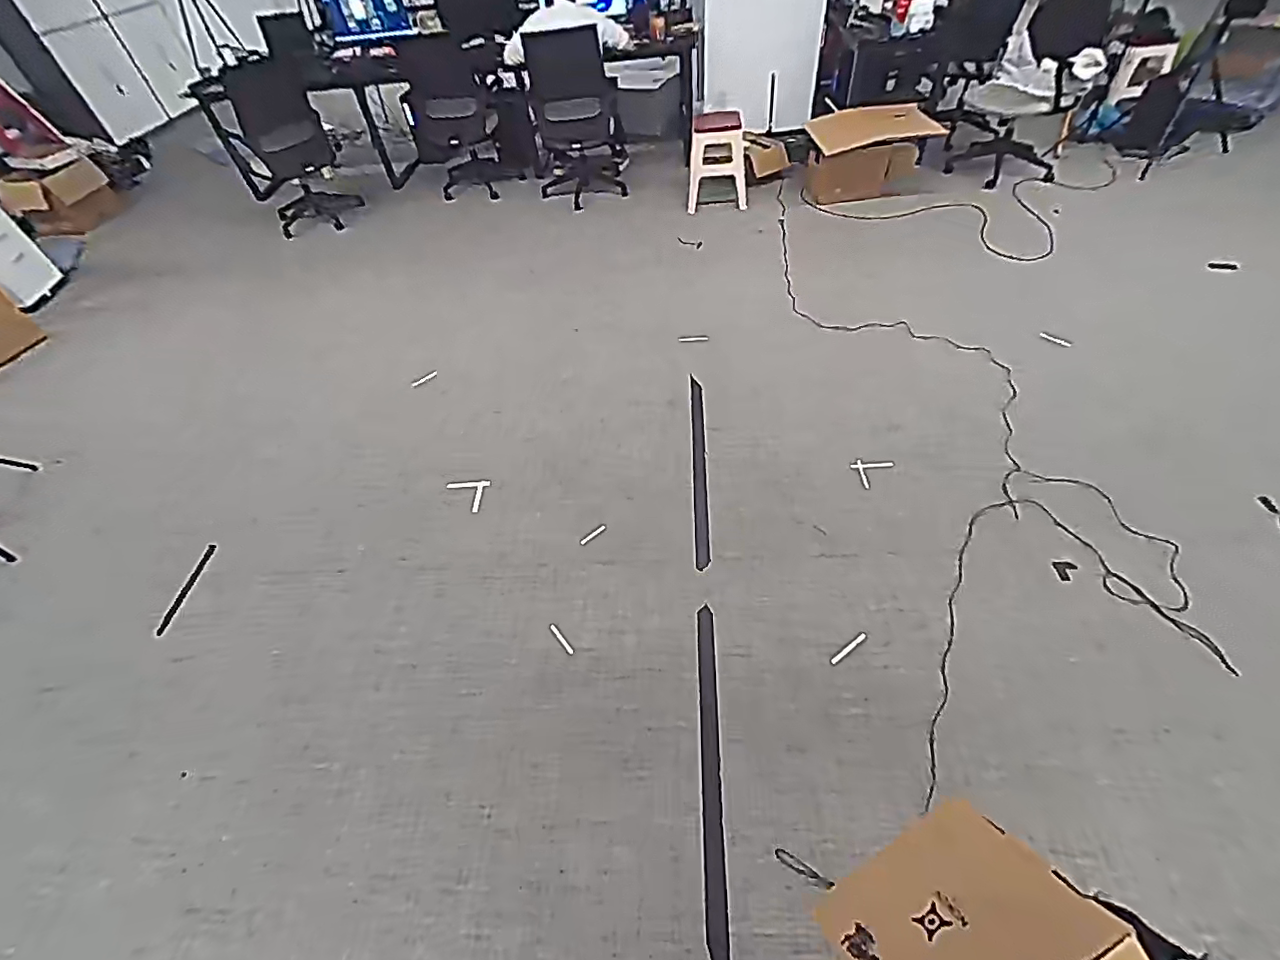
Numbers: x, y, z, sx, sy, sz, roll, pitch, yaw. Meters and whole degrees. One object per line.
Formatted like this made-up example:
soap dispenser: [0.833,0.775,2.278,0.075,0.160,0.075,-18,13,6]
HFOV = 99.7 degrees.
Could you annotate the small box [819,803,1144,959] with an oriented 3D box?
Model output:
small box: [0.287,0.420,0.435,0.179,0.168,0.176,-31,90,-7]
